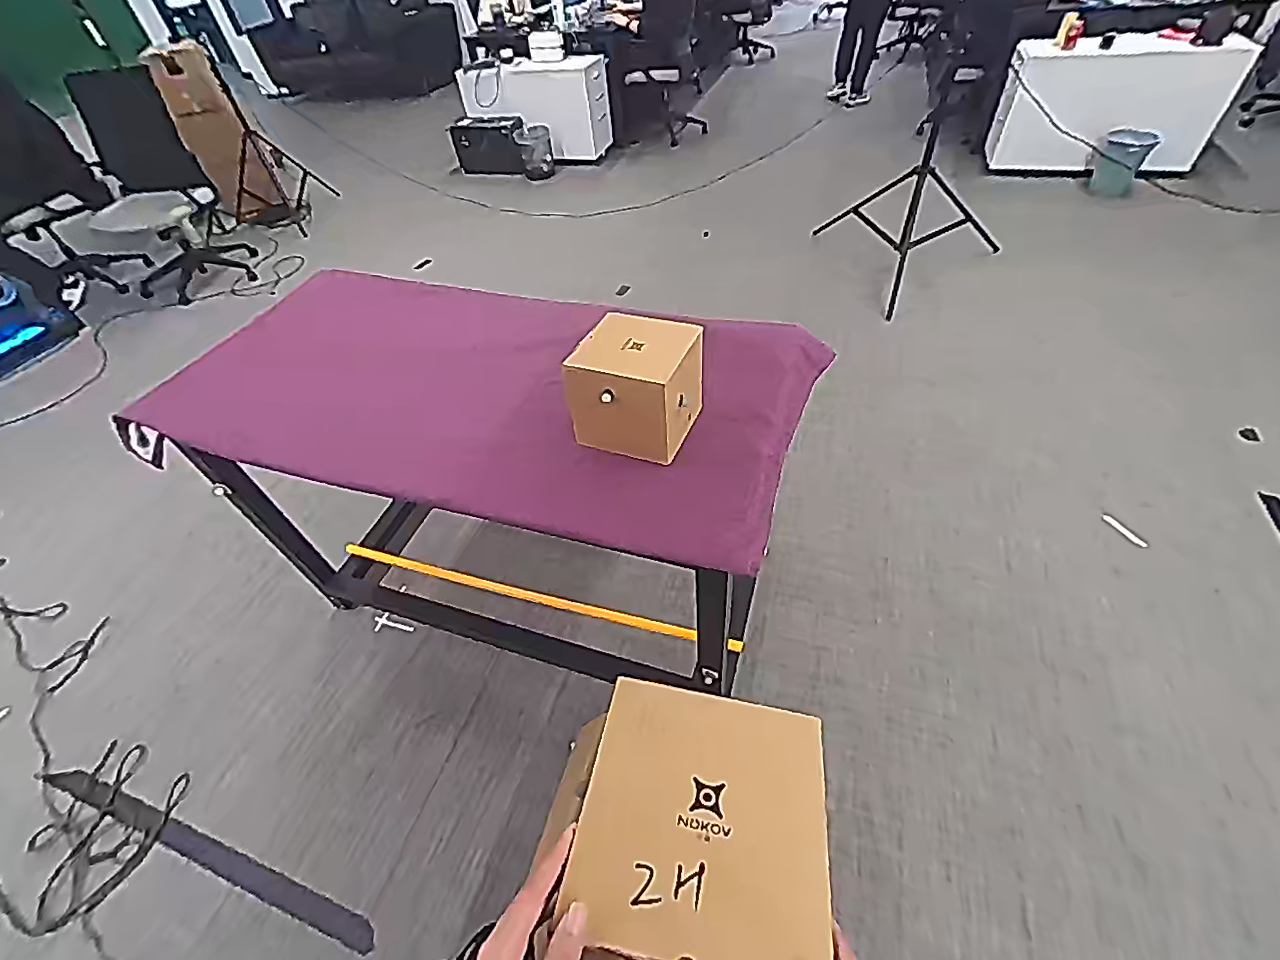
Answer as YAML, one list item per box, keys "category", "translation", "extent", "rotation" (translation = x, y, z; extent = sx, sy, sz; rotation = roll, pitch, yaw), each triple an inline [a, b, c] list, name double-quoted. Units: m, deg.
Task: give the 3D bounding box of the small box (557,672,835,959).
- category: "small box"
  translation: [0.044, 0.285, 0.420]
  extent: [0.168, 0.176, 0.179]
  rotation: [8, 39, 9]

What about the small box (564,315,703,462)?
- category: "small box"
  translation: [-0.001, -0.152, 0.909]
  extent: [0.179, 0.176, 0.168]
  rotation: [14, 49, 20]
